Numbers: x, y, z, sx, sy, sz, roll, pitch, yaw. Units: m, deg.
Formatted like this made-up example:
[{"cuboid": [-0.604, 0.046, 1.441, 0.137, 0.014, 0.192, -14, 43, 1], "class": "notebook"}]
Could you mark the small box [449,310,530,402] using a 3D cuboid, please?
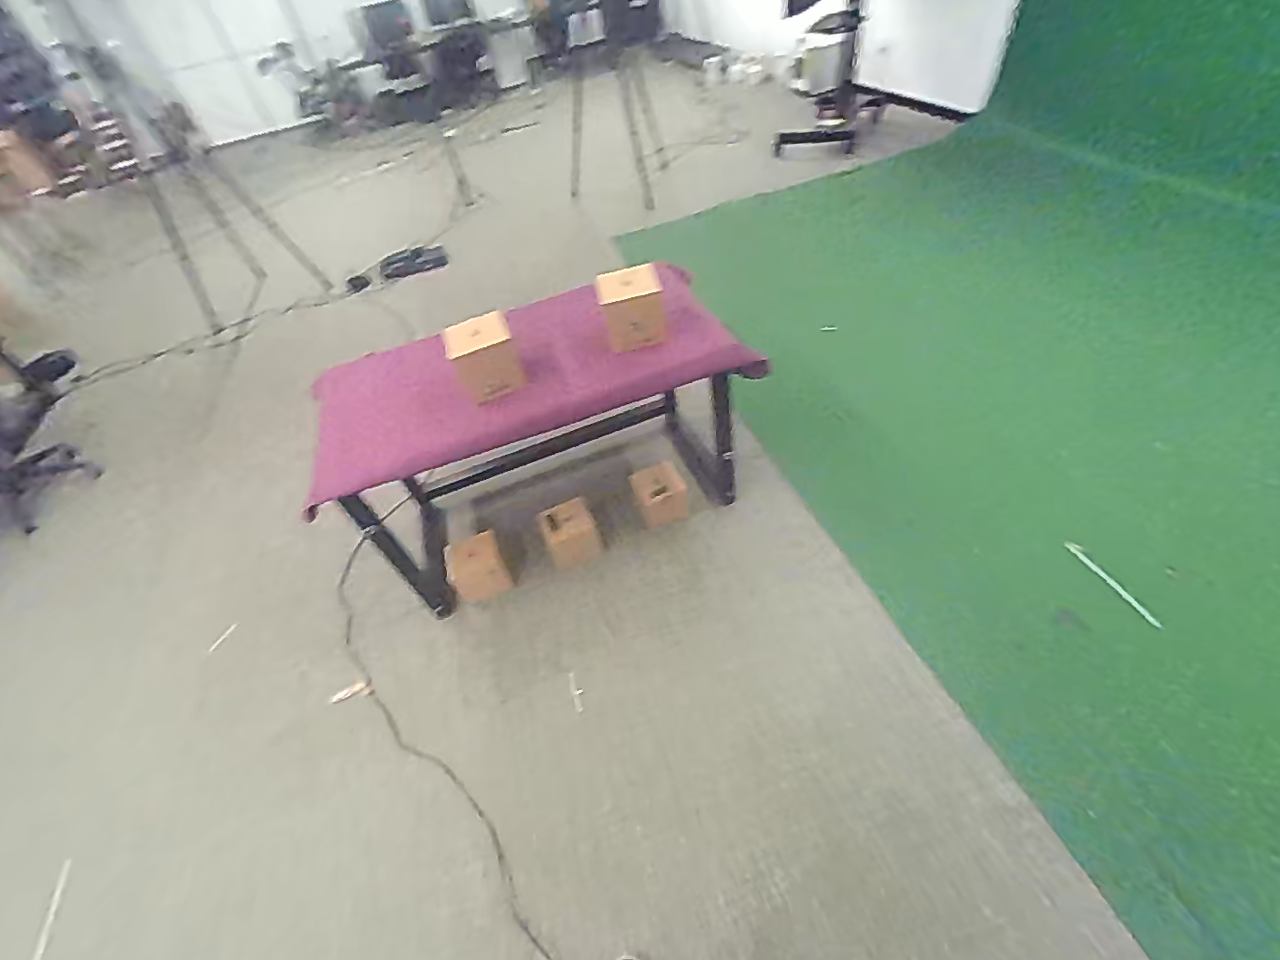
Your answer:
[{"cuboid": [-0.429, -0.353, 1.546, 0.168, 0.176, 0.179, -22, 48, -7], "class": "small box"}]

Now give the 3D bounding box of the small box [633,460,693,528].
[{"cuboid": [0.092, 0.060, 2.047, 0.168, 0.176, 0.179, -22, 46, -9], "class": "small box"}]

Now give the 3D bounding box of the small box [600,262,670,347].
[{"cuboid": [-0.013, -0.509, 1.594, 0.168, 0.176, 0.179, -13, 47, 1], "class": "small box"}]

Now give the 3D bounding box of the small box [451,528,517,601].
[{"cuboid": [-0.565, 0.311, 1.964, 0.179, 0.176, 0.168, -20, 47, -7], "class": "small box"}]
